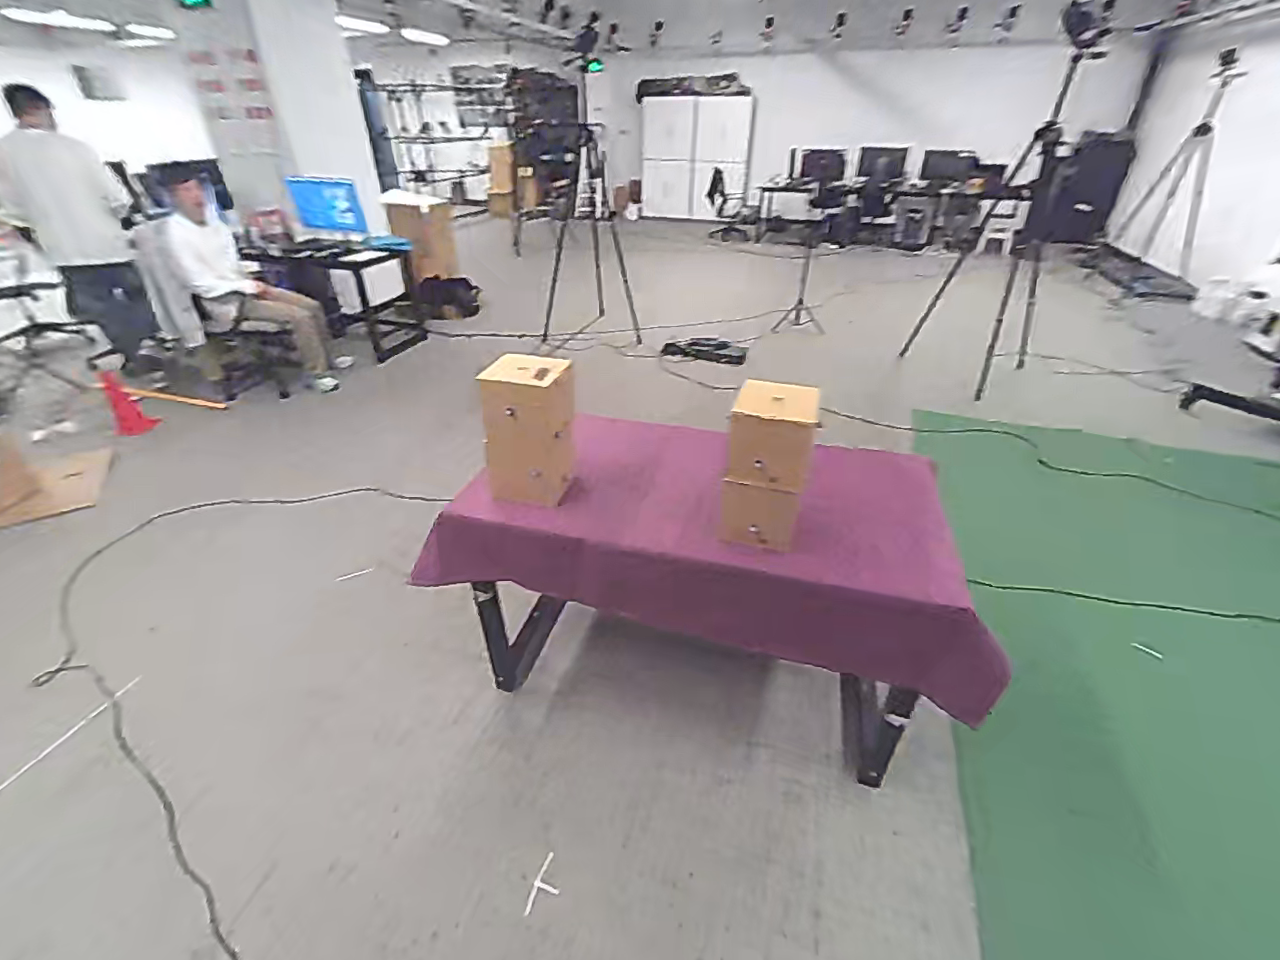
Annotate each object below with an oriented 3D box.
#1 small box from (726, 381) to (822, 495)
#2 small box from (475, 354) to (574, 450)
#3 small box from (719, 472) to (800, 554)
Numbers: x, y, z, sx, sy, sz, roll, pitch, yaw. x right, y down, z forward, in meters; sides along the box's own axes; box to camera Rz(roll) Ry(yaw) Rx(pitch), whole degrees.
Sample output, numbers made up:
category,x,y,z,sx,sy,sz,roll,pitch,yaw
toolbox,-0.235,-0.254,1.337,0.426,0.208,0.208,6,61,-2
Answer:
category,x,y,z,sx,sy,sz,roll,pitch,yaw
small box,0.286,-0.093,1.166,0.168,0.176,0.179,11,36,16
small box,-0.267,-0.187,1.300,0.179,0.176,0.168,8,34,11
small box,0.283,0.042,1.256,0.168,0.176,0.179,11,35,16
